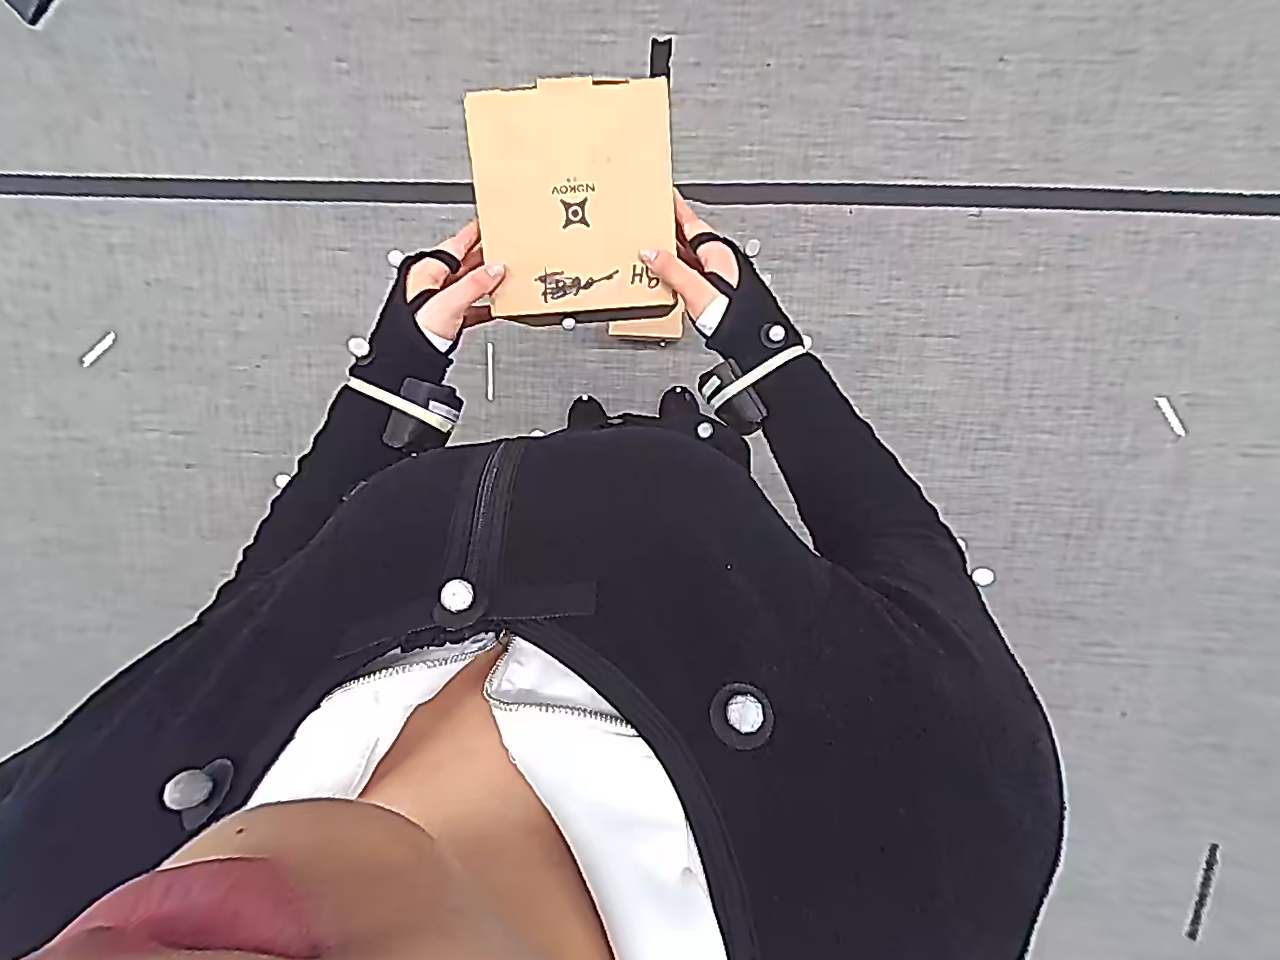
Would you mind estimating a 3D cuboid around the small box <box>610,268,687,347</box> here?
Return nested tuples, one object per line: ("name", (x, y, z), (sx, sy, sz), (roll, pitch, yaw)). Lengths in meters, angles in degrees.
("small box", (0.021, -0.422, 1.341), (0.179, 0.176, 0.168), (2, 100, 3))
